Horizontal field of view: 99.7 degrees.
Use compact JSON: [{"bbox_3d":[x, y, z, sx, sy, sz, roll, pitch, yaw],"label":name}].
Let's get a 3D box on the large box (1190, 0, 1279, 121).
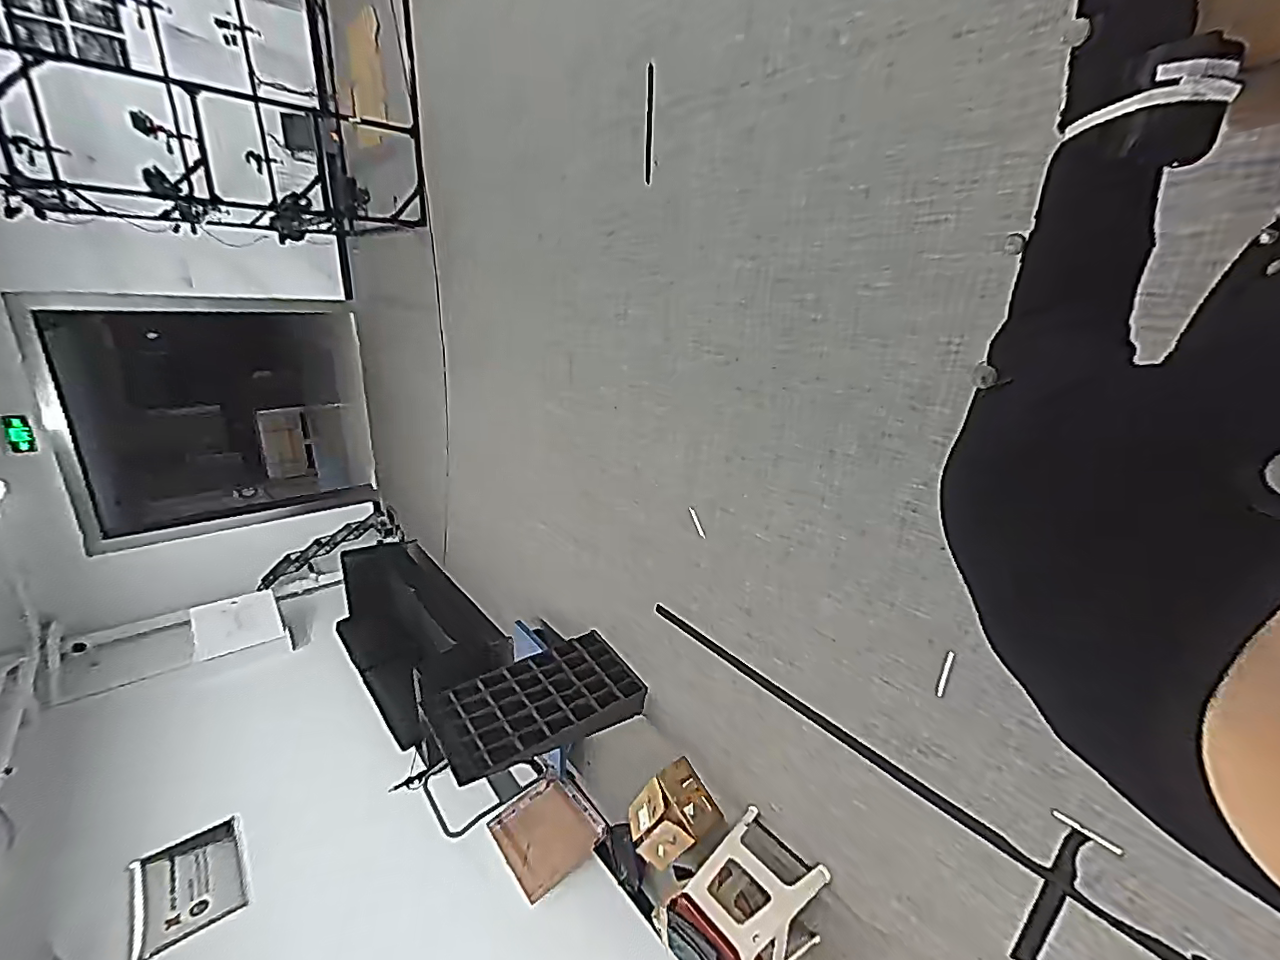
[{"bbox_3d":[0.598,-0.444,0.274,0.408,0.320,0.320,12,116,49],"label":"large box"}]
